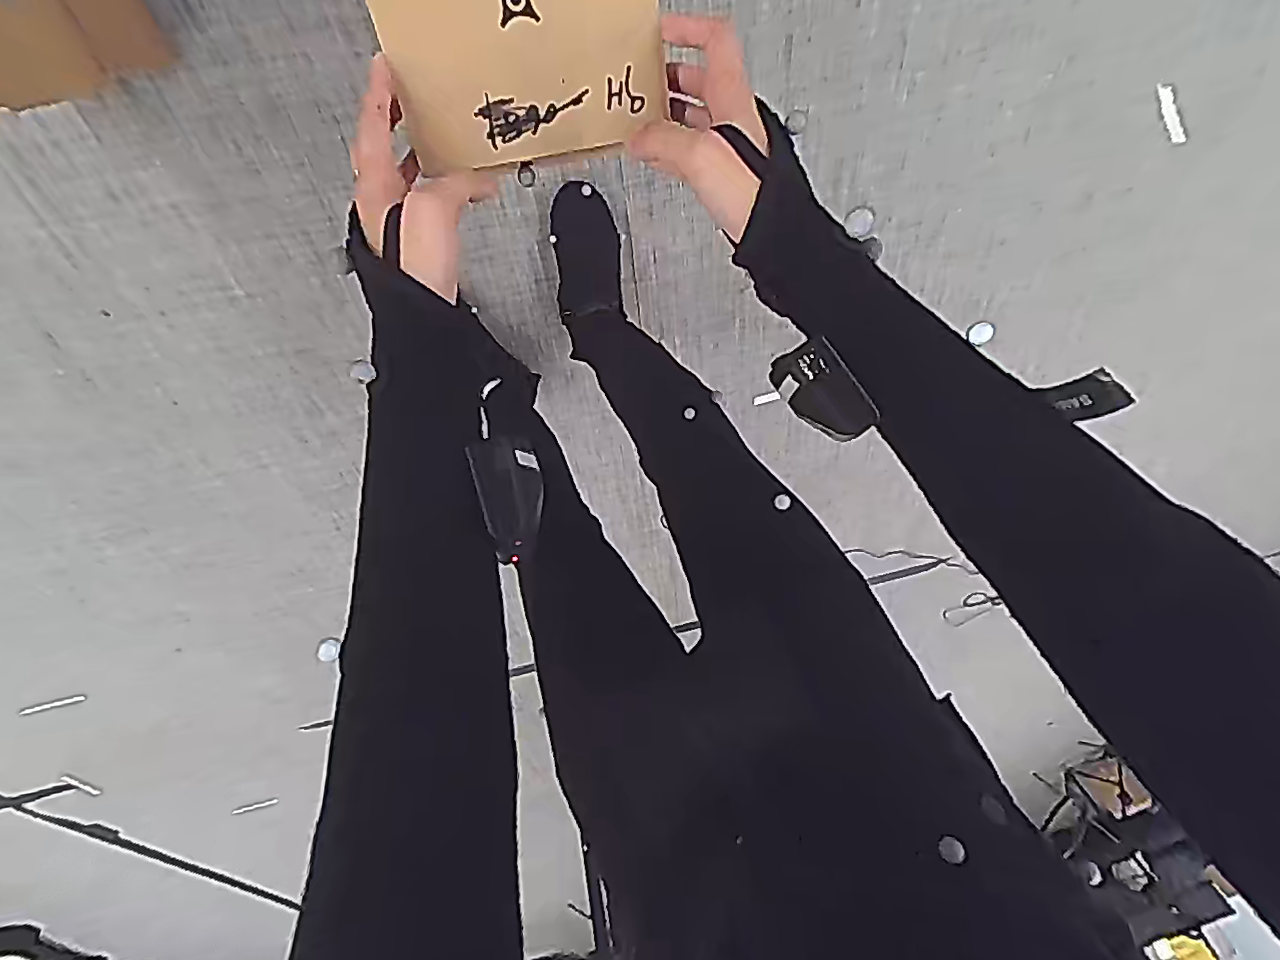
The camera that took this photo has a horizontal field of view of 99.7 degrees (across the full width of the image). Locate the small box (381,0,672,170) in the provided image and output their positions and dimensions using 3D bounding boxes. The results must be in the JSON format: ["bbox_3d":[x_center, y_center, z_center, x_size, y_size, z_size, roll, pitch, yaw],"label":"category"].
[{"bbox_3d":[-0.084,-0.331,0.378,0.168,0.176,0.179,-13,119,-5],"label":"small box"}]
